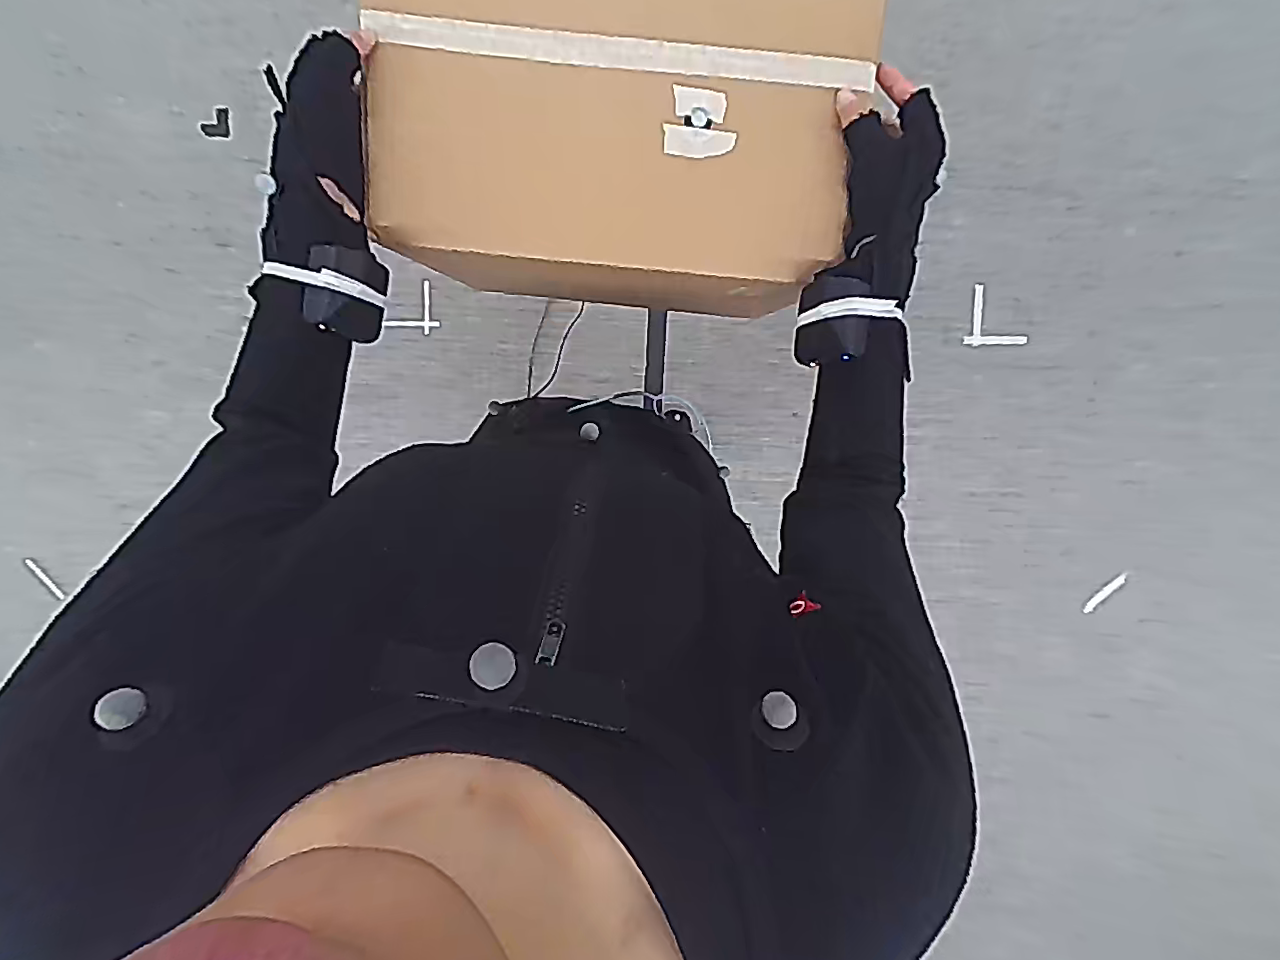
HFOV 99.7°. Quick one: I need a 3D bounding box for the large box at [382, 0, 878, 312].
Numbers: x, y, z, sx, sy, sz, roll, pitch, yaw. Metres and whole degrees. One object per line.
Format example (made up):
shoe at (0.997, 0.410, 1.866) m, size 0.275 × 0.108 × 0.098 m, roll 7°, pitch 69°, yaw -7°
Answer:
large box at (-0.015, -0.370, 0.588) m, size 0.408 × 0.320 × 0.320 m, roll 5°, pitch 103°, yaw -2°
